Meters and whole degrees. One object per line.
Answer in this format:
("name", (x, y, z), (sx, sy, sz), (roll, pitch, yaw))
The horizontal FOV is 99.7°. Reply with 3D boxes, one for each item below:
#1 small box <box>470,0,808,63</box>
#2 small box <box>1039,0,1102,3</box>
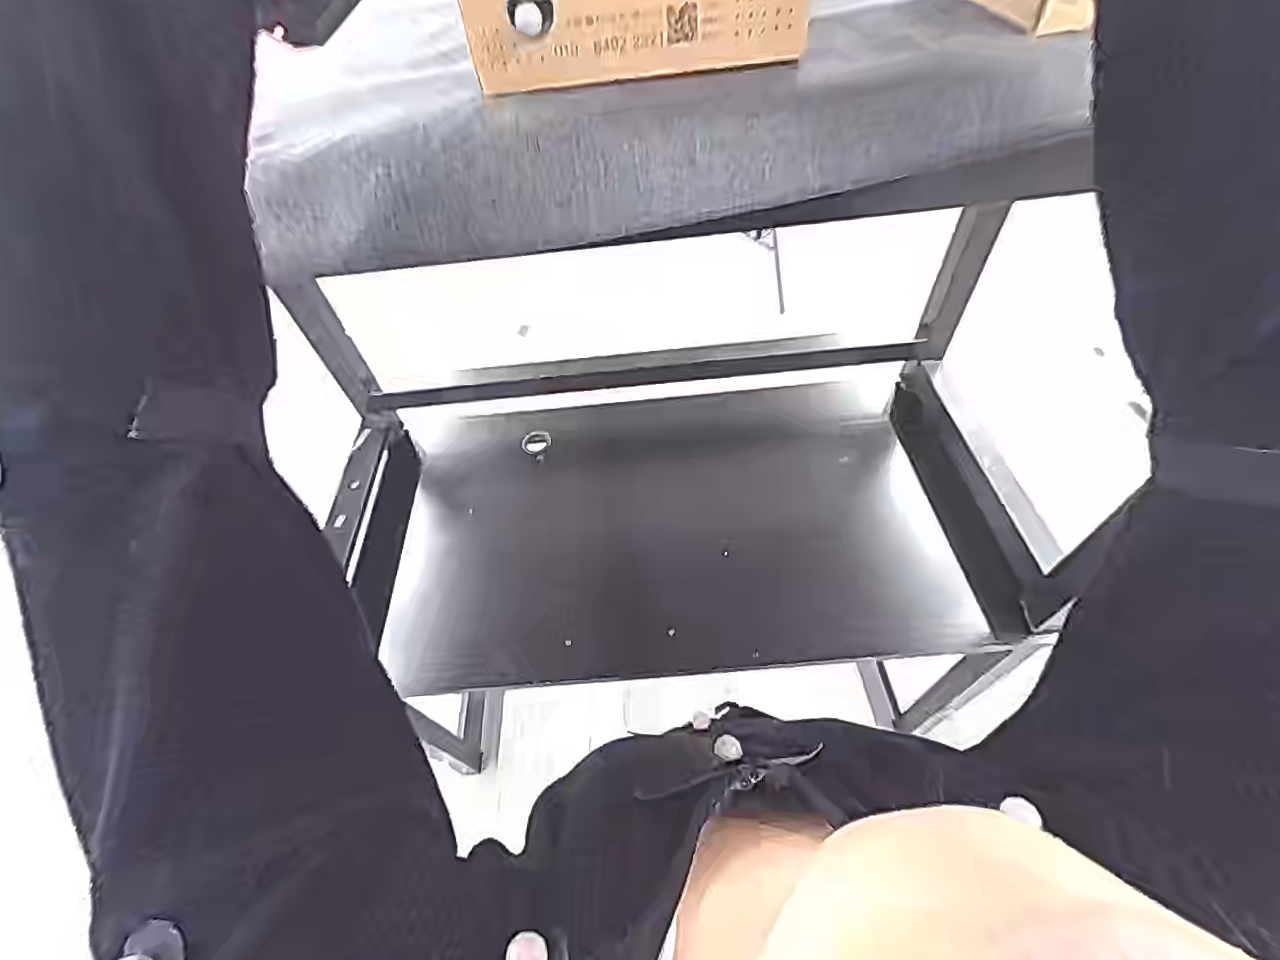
("small box", (-0.008, -0.322, 0.258), (0.168, 0.176, 0.179), (-5, 50, 2))
("small box", (0.266, -0.348, 0.248), (0.168, 0.176, 0.179), (-5, 51, 4))
